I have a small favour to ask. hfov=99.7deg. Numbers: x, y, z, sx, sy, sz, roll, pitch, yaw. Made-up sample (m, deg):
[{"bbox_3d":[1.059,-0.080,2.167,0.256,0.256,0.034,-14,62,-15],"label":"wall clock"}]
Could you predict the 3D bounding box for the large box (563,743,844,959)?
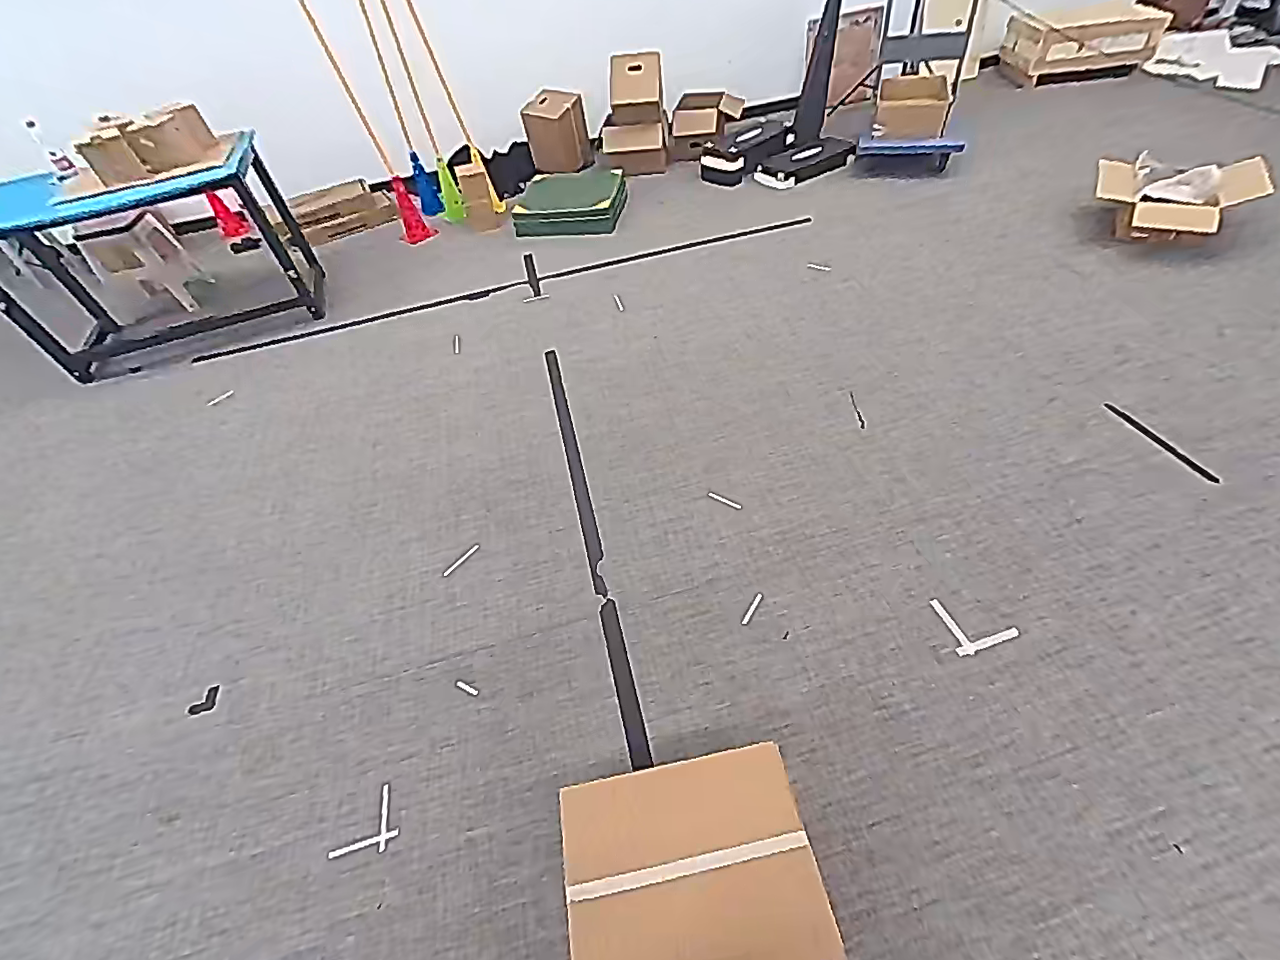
[{"bbox_3d":[0.098,0.732,0.994,0.408,0.320,0.320,-12,47,-3],"label":"large box"}]
